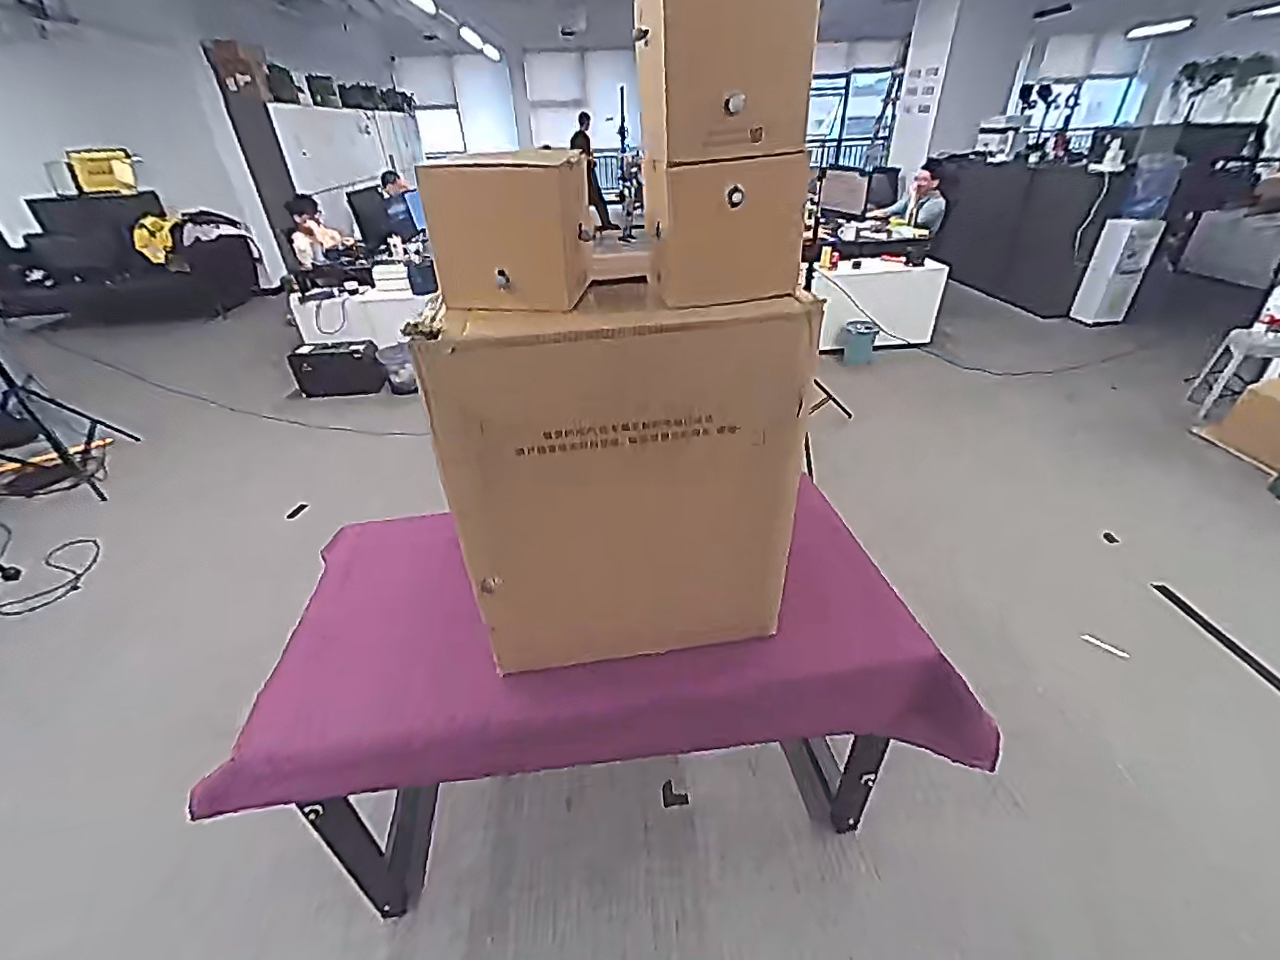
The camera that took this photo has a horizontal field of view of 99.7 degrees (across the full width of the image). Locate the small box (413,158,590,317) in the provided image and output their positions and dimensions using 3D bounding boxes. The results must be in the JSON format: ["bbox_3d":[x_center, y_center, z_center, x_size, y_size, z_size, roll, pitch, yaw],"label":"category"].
[{"bbox_3d":[-0.168,-0.327,0.728,0.179,0.176,0.168,3,35,6],"label":"small box"}]

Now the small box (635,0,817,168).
[{"bbox_3d":[0.089,-0.471,0.638,0.168,0.176,0.179,-9,35,-5],"label":"small box"}]

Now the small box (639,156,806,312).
[{"bbox_3d":[0.103,-0.333,0.727,0.179,0.176,0.168,-8,34,-7],"label":"small box"}]
